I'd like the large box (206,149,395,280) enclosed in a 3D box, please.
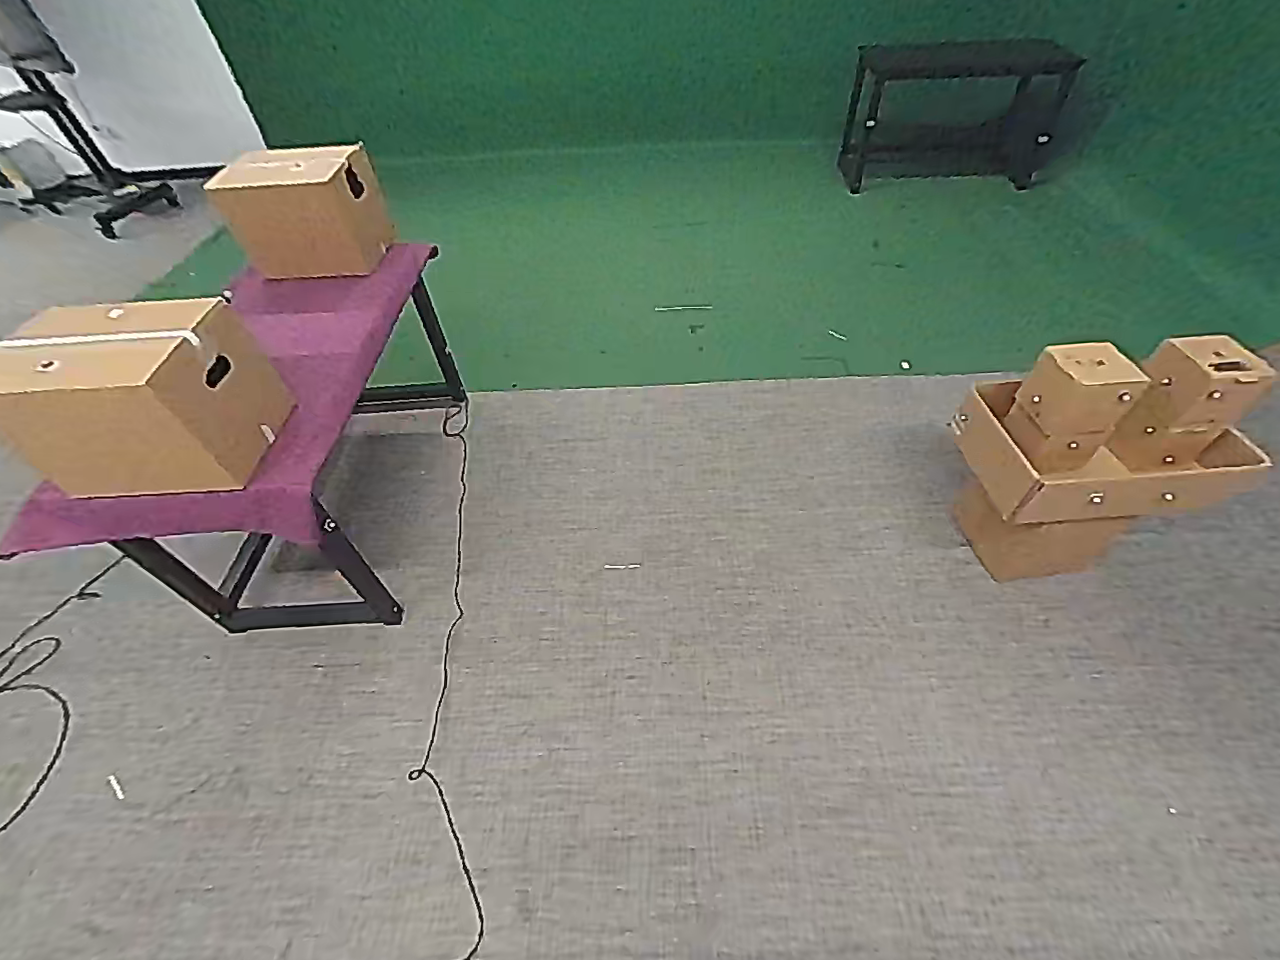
[{"bbox_3d":[-1.136,-0.913,1.864,0.408,0.320,0.320,-1,50,2],"label":"large box"}]

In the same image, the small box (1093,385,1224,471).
[{"bbox_3d":[1.466,-0.147,1.546,0.168,0.176,0.179,-6,49,-4],"label":"small box"}]

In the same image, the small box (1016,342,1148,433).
[{"bbox_3d":[1.146,-0.240,1.420,0.179,0.176,0.168,-4,48,0],"label":"small box"}]
